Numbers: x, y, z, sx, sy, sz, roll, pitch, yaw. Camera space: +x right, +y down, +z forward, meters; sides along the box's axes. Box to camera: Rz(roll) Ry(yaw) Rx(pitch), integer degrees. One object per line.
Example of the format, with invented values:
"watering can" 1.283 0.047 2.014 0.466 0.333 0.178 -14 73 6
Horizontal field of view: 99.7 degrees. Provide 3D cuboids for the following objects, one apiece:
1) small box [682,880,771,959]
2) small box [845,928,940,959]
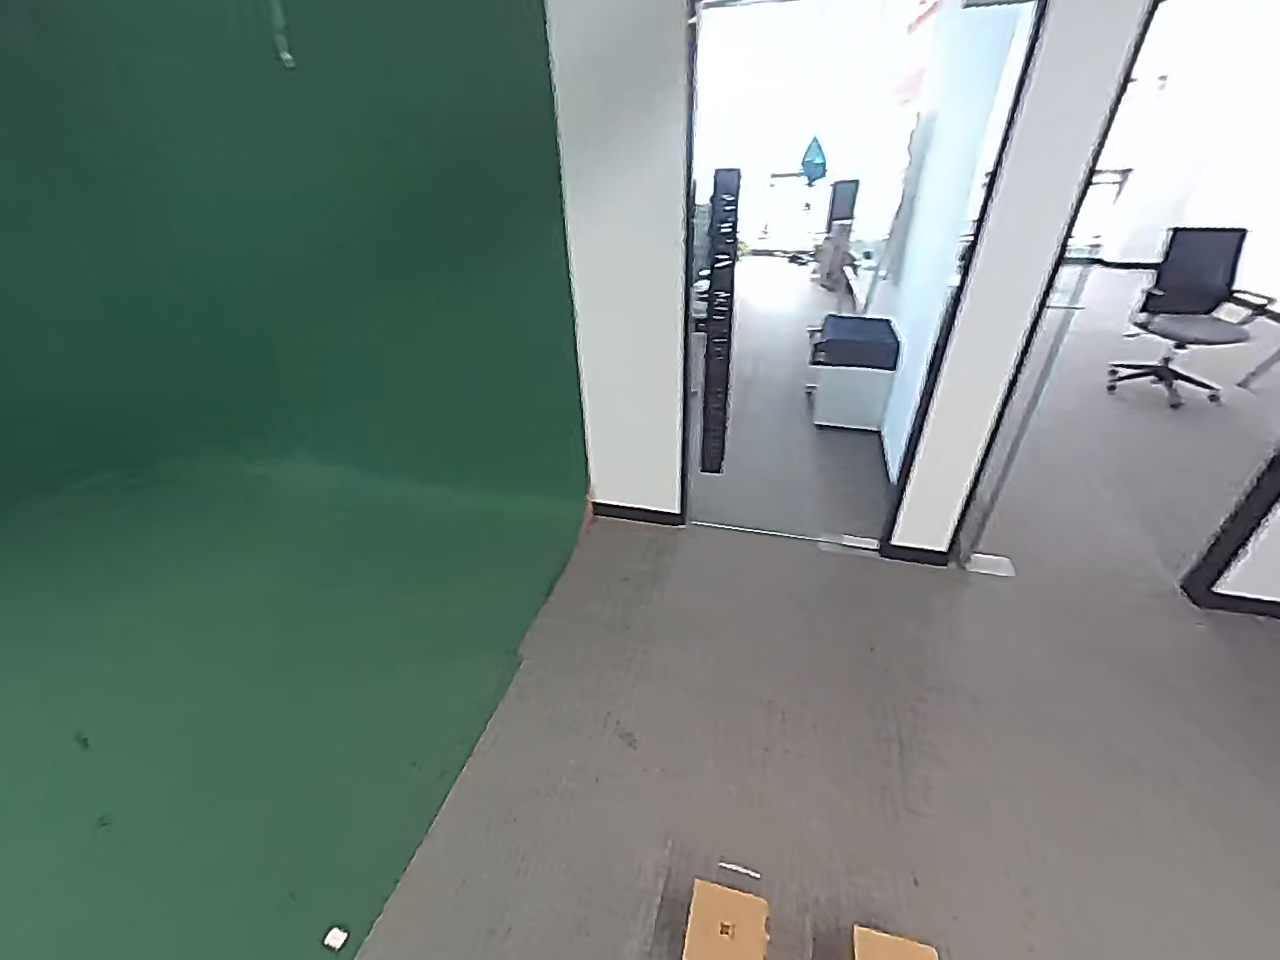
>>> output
"small box" 0.198 1.078 1.251 0.179 0.176 0.168 8 33 15
"small box" 0.543 1.122 1.166 0.179 0.176 0.168 8 35 14
